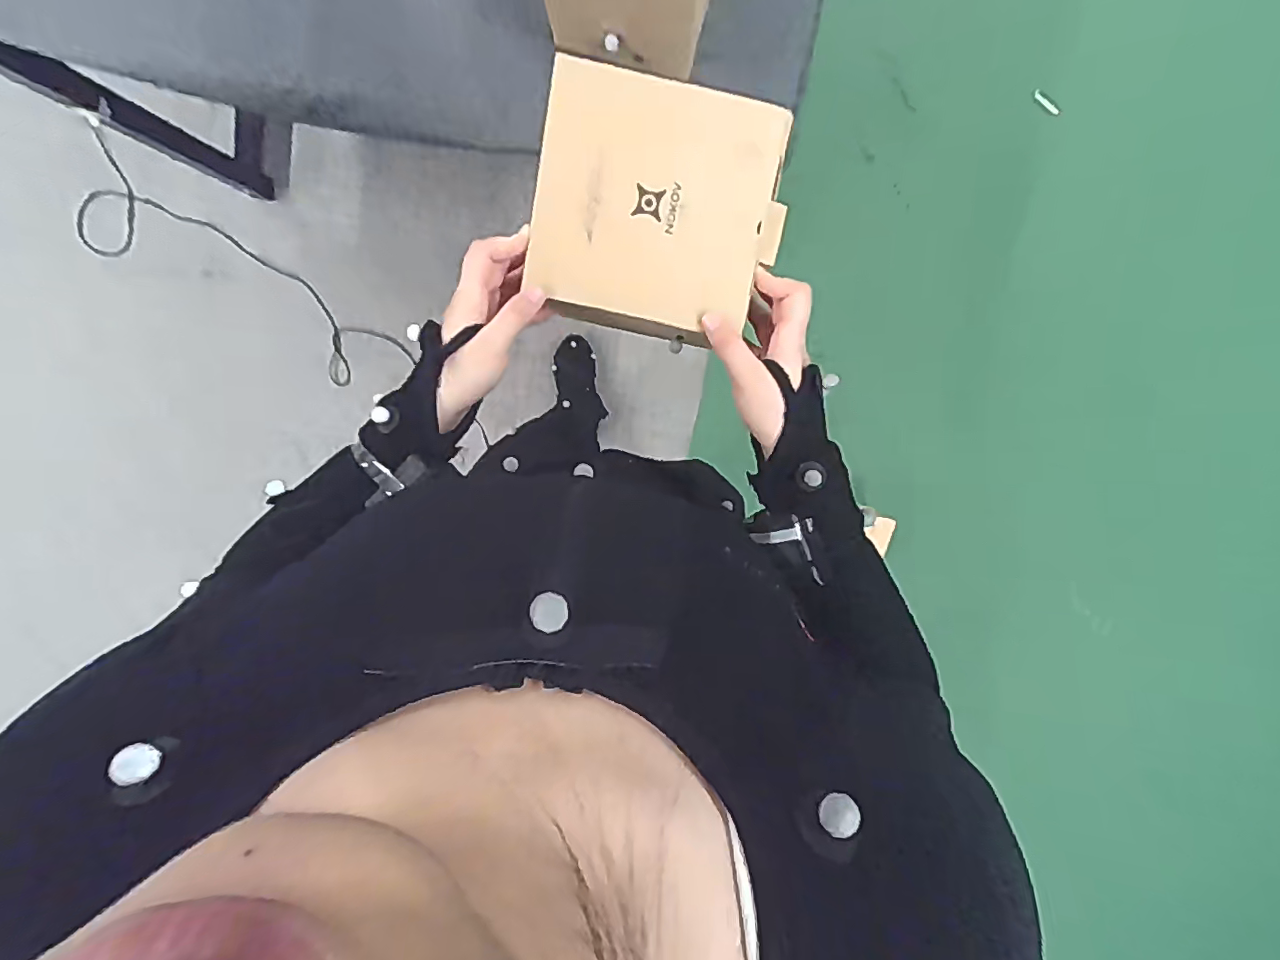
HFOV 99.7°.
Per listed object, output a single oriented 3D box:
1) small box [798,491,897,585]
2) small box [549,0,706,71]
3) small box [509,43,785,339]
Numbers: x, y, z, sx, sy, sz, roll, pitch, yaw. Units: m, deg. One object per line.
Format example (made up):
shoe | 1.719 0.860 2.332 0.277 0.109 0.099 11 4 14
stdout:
small box | 0.525 0.143 1.397 0.168 0.176 0.179 16 99 -2
small box | -0.004 -0.570 0.548 0.168 0.176 0.179 15 97 -1
small box | 0.002 -0.222 0.468 0.179 0.176 0.168 10 100 -2
